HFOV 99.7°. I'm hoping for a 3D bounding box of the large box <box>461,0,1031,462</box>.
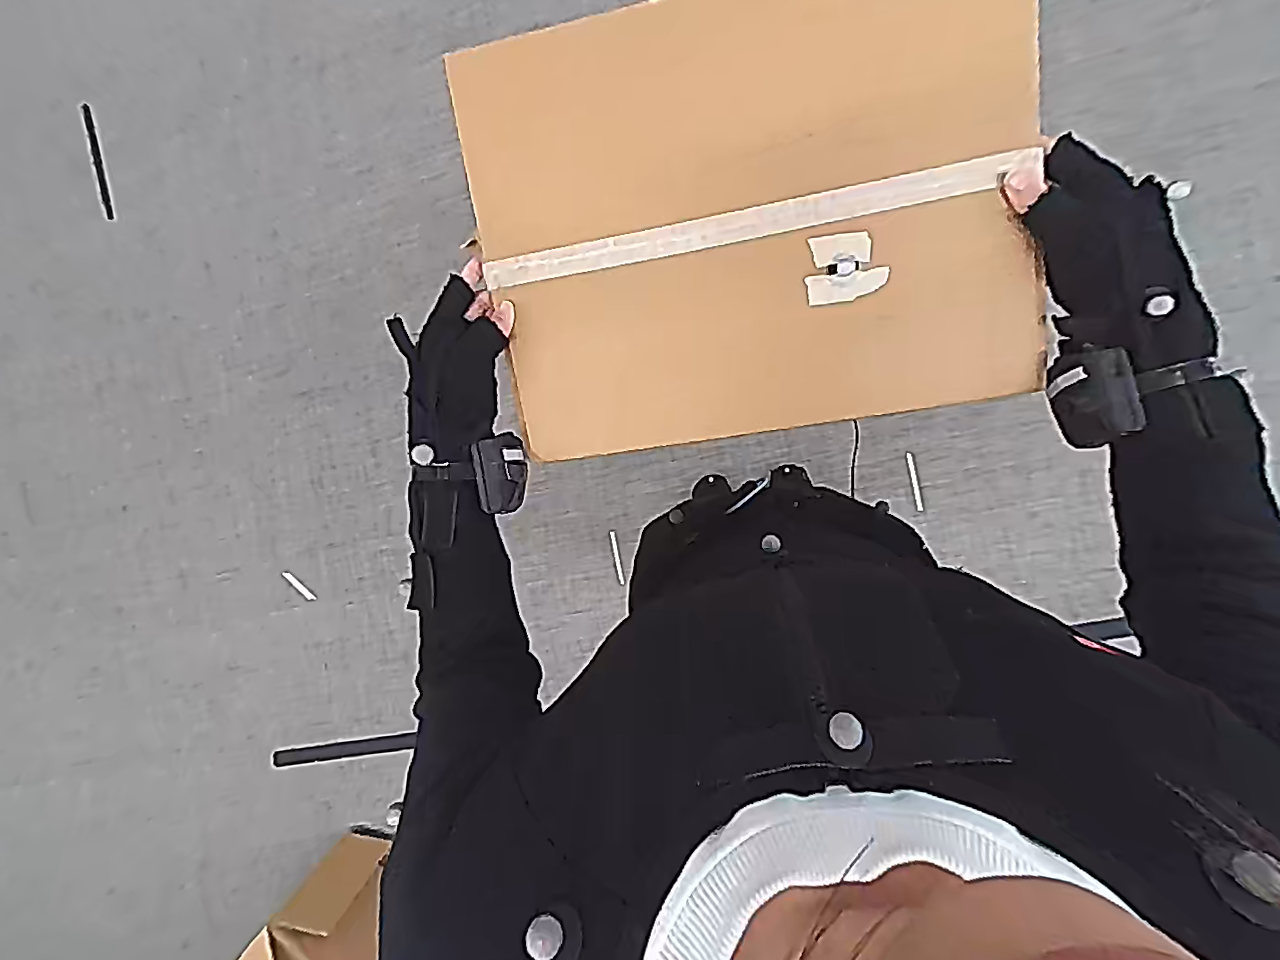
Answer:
[{"bbox_3d":[0.094,-0.224,0.560,0.408,0.320,0.320,-9,102,8],"label":"large box"}]
